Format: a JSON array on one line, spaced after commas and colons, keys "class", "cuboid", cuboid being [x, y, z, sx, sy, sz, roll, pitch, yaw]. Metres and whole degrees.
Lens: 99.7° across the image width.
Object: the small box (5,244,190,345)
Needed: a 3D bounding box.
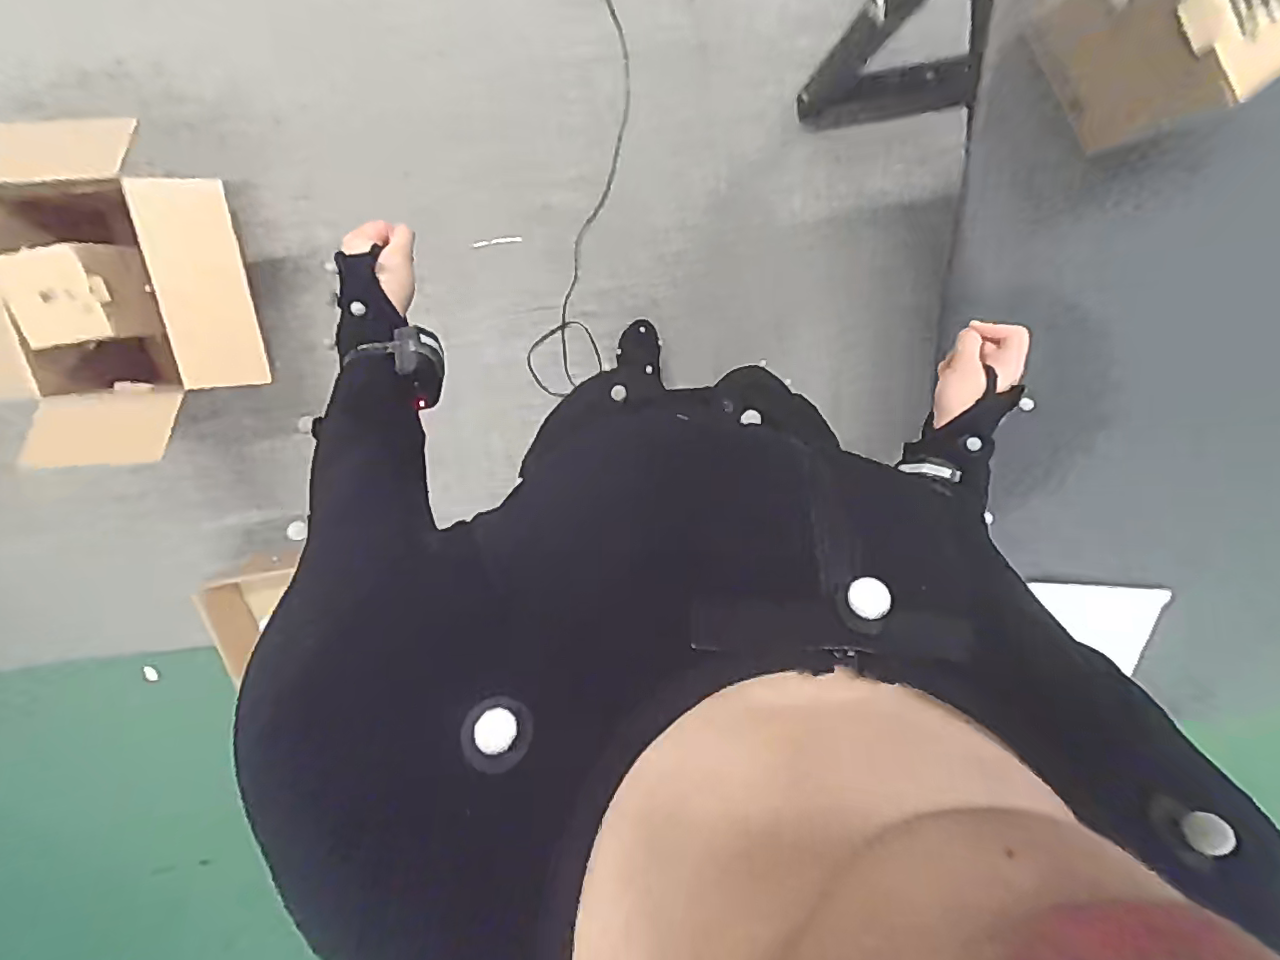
[{"class": "small box", "cuboid": [-1.095, -0.377, 1.110, 0.179, 0.176, 0.168, -9, 109, 3]}]
